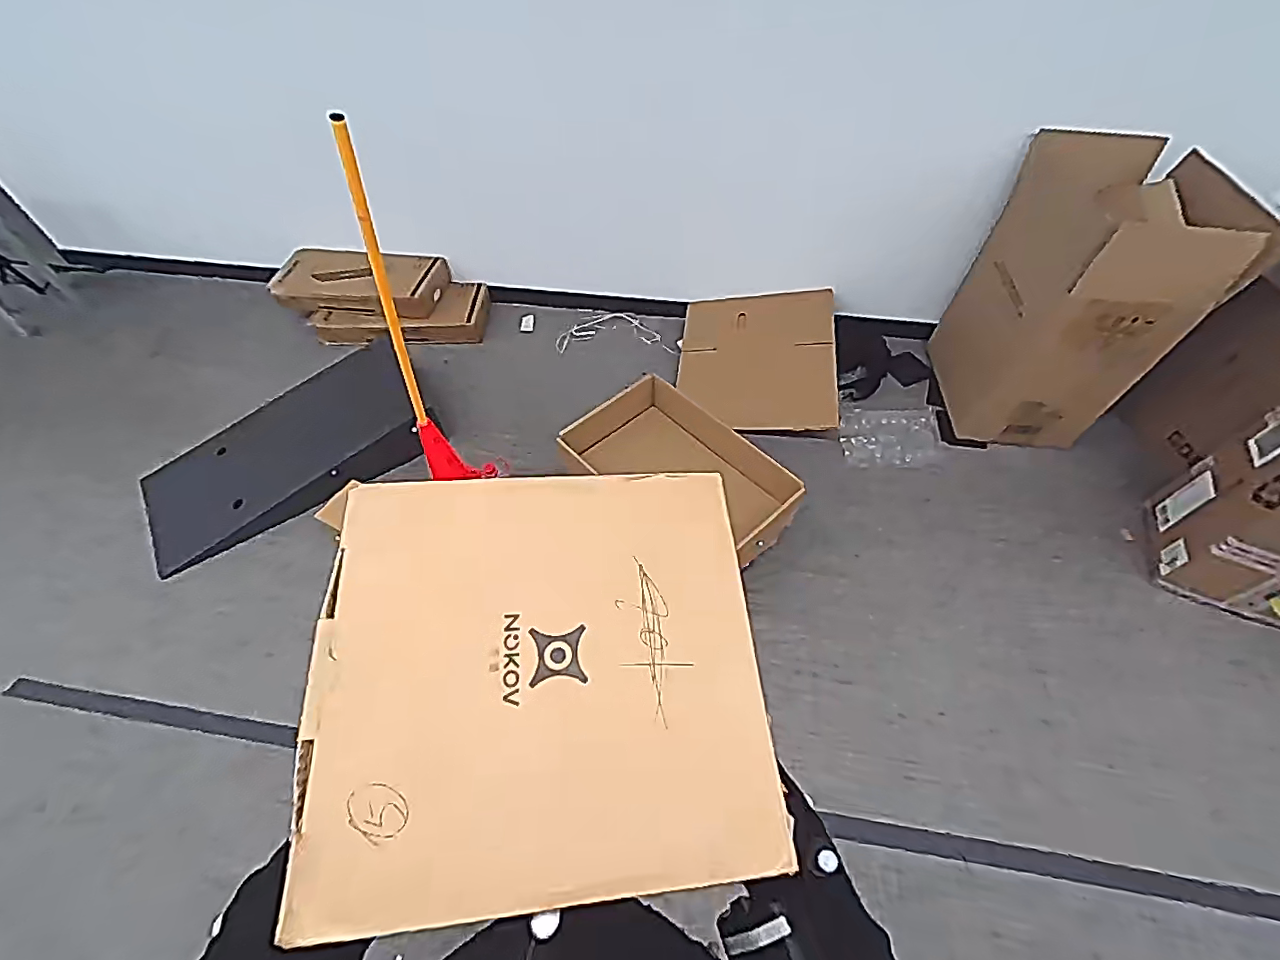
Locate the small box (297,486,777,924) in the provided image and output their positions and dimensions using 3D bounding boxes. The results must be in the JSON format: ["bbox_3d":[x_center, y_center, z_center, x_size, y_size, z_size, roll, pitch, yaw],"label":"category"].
[{"bbox_3d":[-0.049,0.115,0.301,0.179,0.176,0.168,-2,63,-10],"label":"small box"}]
